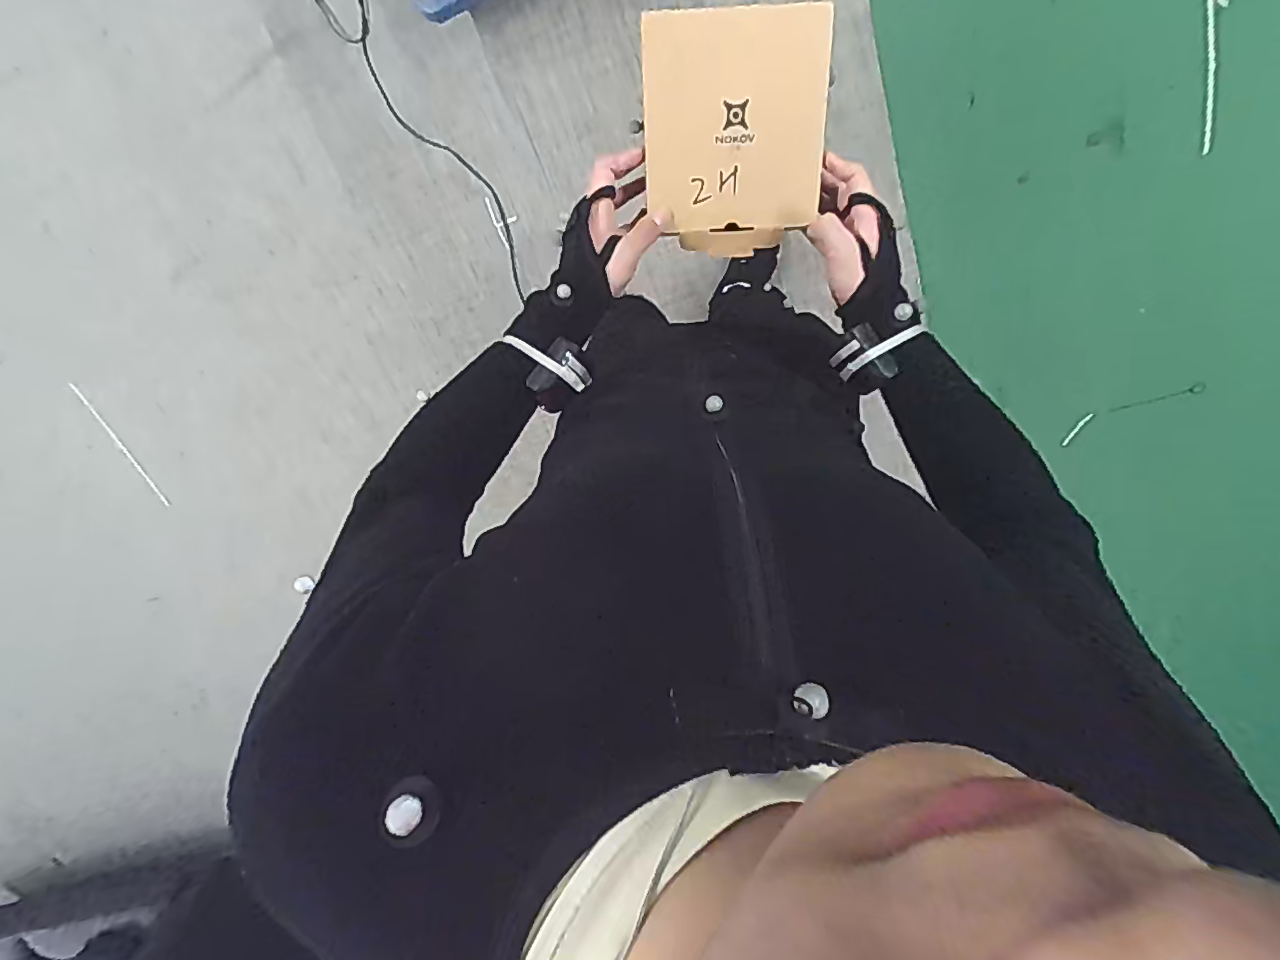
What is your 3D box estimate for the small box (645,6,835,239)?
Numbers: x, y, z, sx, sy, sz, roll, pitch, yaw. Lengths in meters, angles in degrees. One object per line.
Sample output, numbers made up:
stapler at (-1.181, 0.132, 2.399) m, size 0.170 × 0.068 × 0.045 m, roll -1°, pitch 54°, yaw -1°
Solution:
small box at (0.090, -0.353, 0.569) m, size 0.168 × 0.176 × 0.179 m, roll -2°, pitch 114°, yaw 2°
